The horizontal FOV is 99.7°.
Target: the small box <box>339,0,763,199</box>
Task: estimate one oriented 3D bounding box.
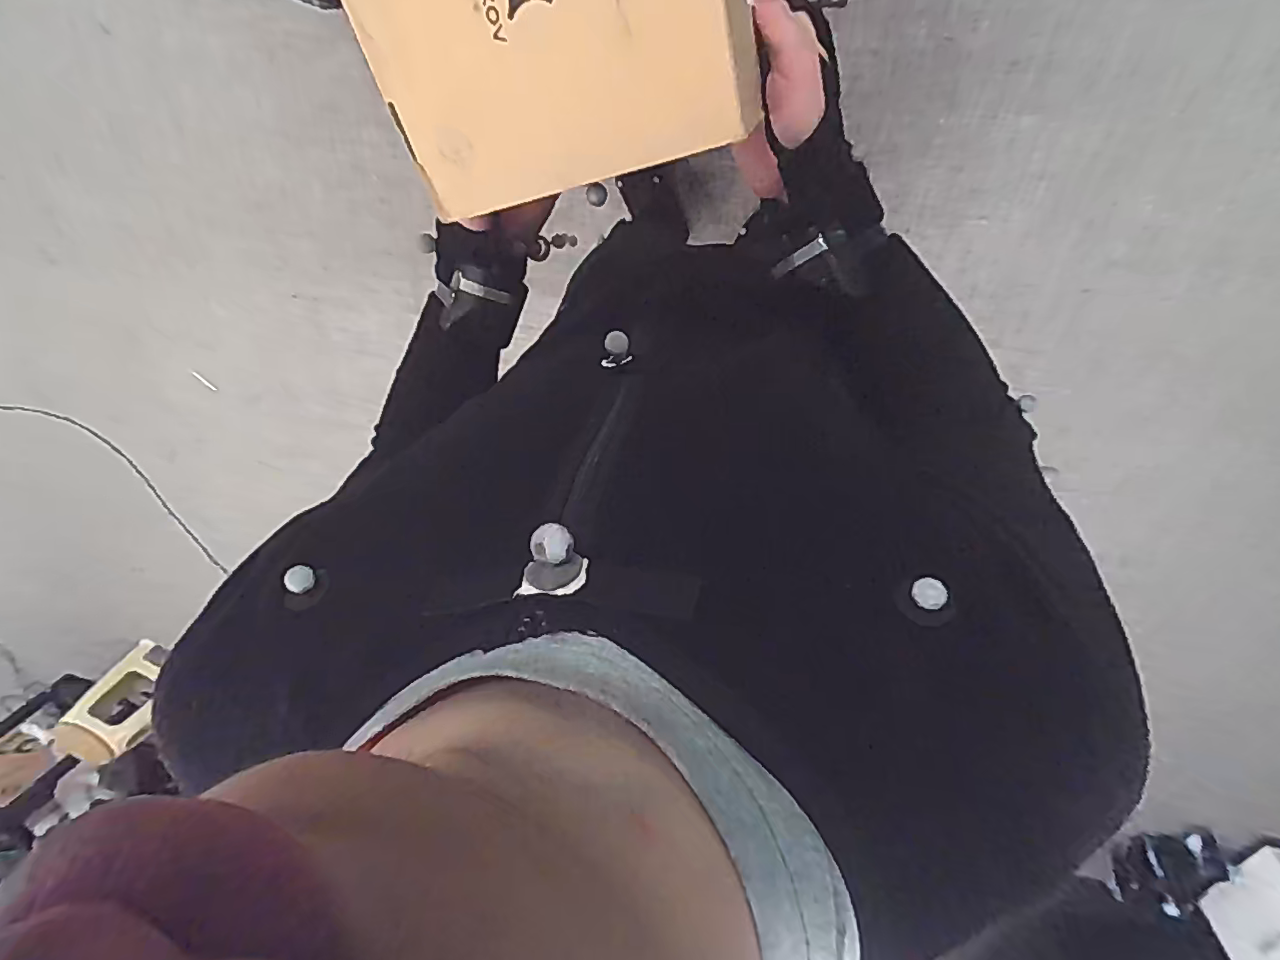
[{"bbox_3d":[-0.039,-0.270,0.286,0.179,0.176,0.168,-4,126,21],"label":"small box"}]
